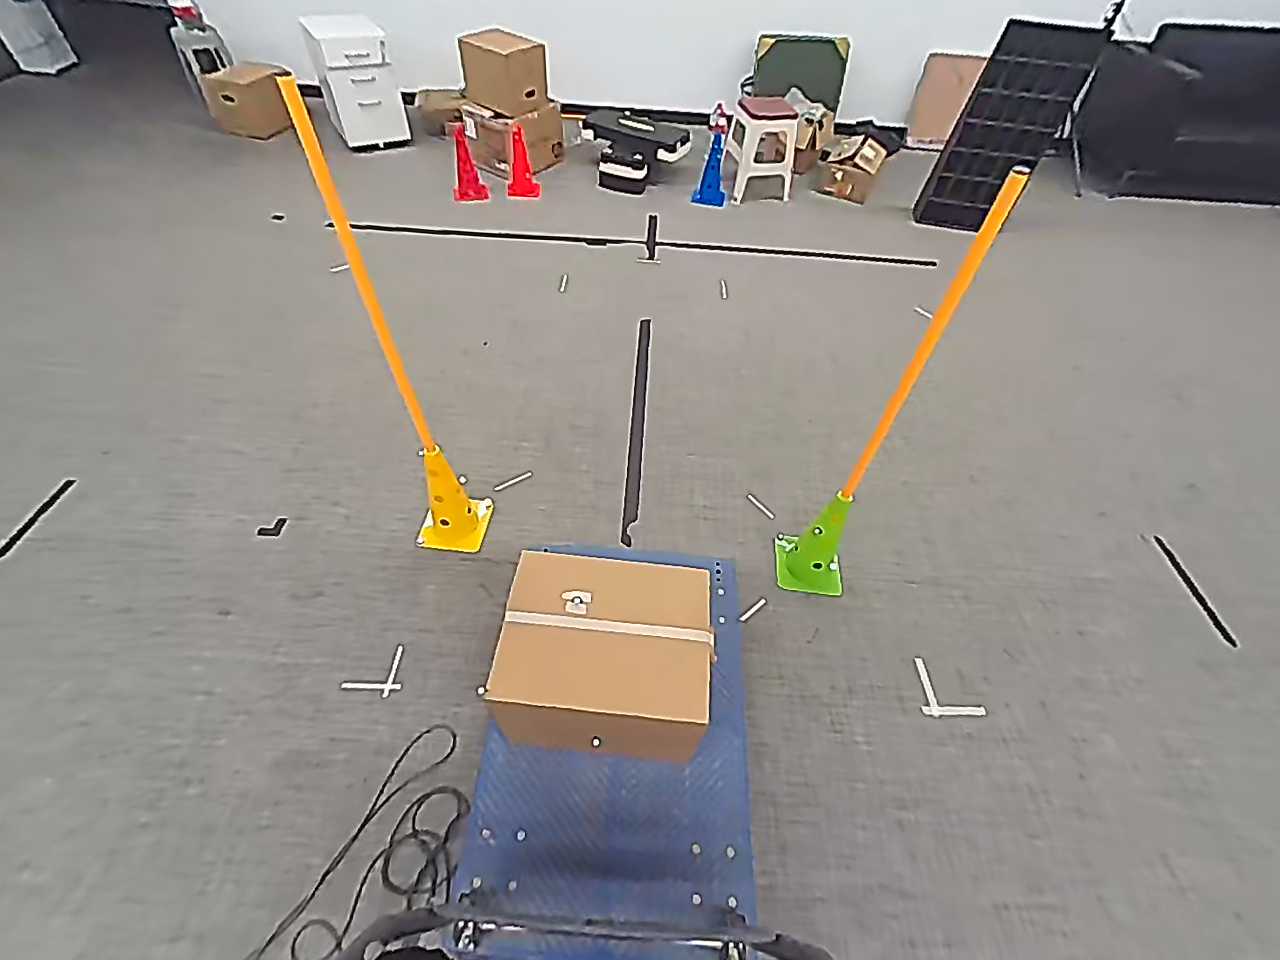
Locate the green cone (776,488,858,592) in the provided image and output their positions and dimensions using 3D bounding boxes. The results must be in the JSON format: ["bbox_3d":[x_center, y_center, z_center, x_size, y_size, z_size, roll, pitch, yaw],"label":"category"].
[{"bbox_3d":[0.549,0.152,1.592,0.202,0.368,0.200,8,51,1],"label":"green cone"}]

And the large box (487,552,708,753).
[{"bbox_3d":[-0.070,0.381,1.173,0.408,0.320,0.320,6,51,2],"label":"large box"}]
